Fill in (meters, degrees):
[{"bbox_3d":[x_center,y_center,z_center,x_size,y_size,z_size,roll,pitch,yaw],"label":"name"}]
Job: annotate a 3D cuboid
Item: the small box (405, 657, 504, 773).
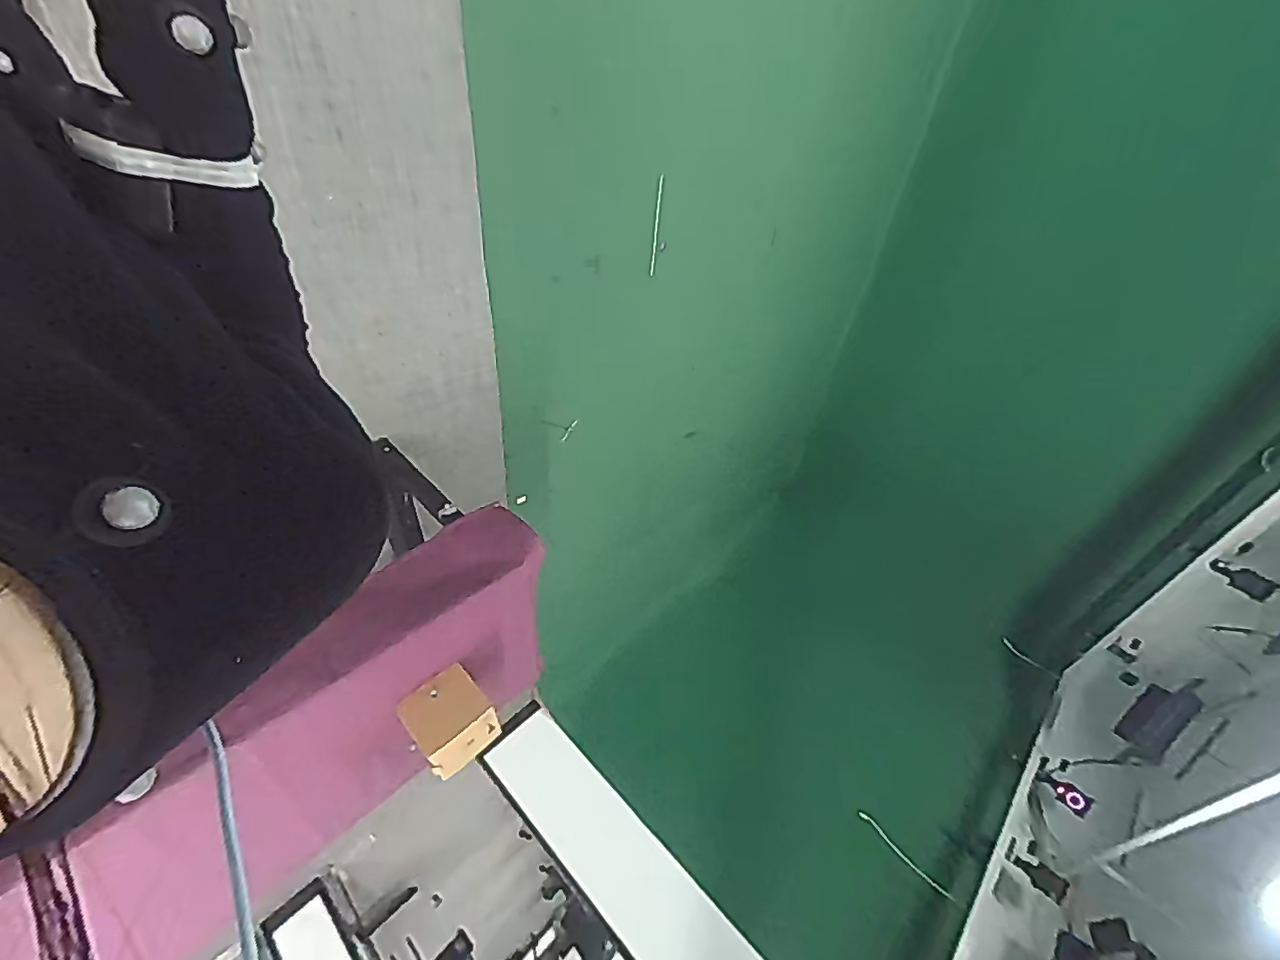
[{"bbox_3d":[-0.477,0.596,1.380,0.179,0.176,0.168,-33,145,-32],"label":"small box"}]
